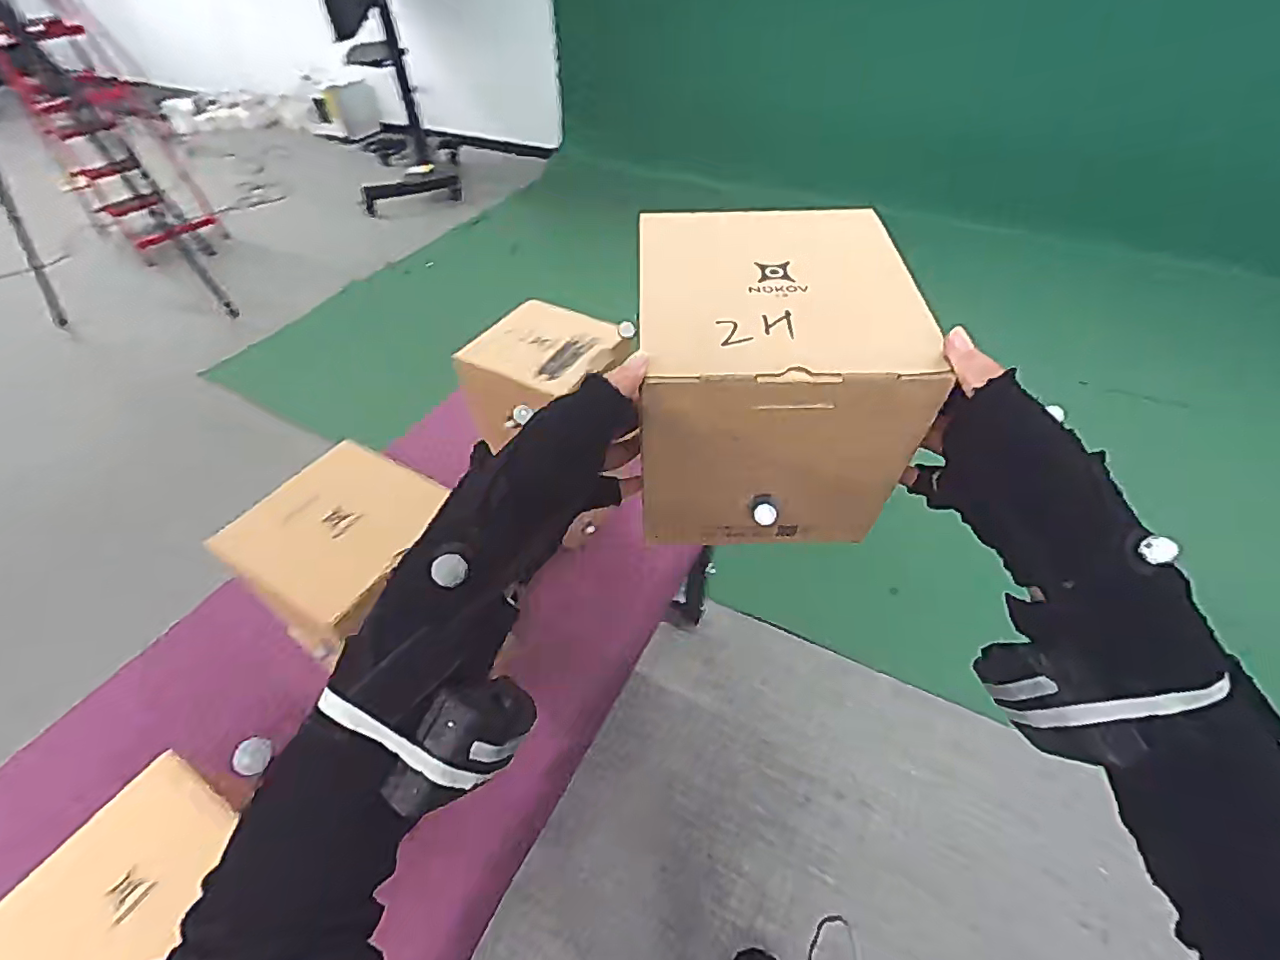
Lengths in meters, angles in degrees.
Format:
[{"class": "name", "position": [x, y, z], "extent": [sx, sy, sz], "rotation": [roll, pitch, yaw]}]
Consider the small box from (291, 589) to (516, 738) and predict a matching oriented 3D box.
[{"class": "small box", "position": [-0.287, 0.208, 0.700], "extent": [0.179, 0.176, 0.168], "rotation": [22, 56, 20]}]

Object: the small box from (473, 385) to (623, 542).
[{"class": "small box", "position": [-0.141, -0.023, 0.899], "extent": [0.179, 0.176, 0.168], "rotation": [25, 51, 20]}]

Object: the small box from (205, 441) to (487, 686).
[{"class": "small box", "position": [-0.291, 0.094, 0.579], "extent": [0.179, 0.176, 0.168], "rotation": [23, 52, 20]}]

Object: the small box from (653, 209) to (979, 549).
[{"class": "small box", "position": [0.094, -0.070, 0.388], "extent": [0.168, 0.176, 0.179], "rotation": [0, 53, 2]}]

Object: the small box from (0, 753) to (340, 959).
[{"class": "small box", "position": [-0.438, 0.407, 0.520], "extent": [0.179, 0.176, 0.168], "rotation": [24, 52, 19]}]
